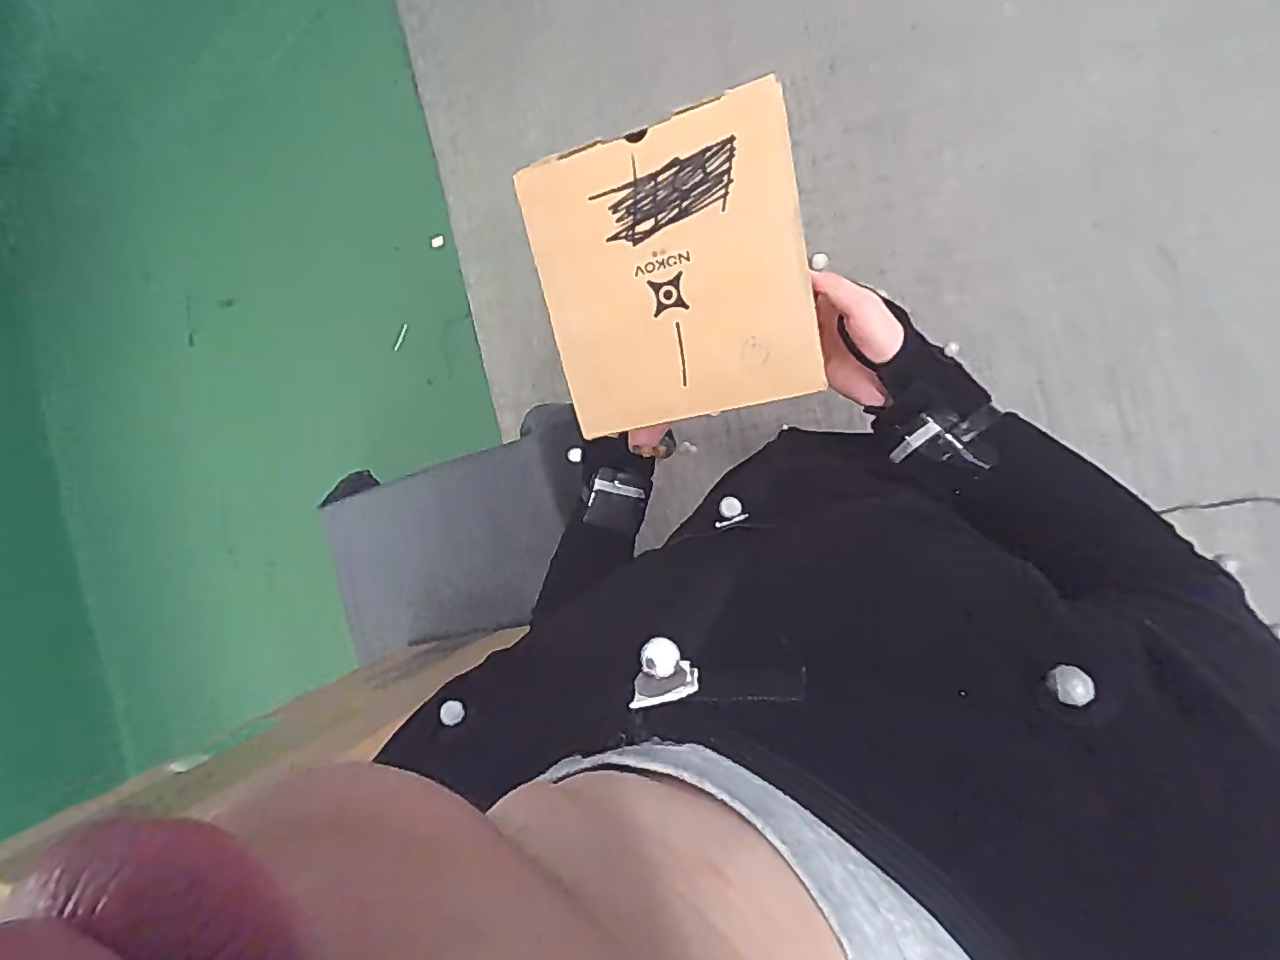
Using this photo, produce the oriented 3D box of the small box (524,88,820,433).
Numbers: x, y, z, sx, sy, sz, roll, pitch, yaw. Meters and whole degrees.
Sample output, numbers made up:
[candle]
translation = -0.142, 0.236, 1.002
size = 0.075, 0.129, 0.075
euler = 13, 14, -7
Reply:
[small box]
translation = 0.038, -0.147, 0.414
size = 0.168, 0.176, 0.179
euler = -8, 105, 18
